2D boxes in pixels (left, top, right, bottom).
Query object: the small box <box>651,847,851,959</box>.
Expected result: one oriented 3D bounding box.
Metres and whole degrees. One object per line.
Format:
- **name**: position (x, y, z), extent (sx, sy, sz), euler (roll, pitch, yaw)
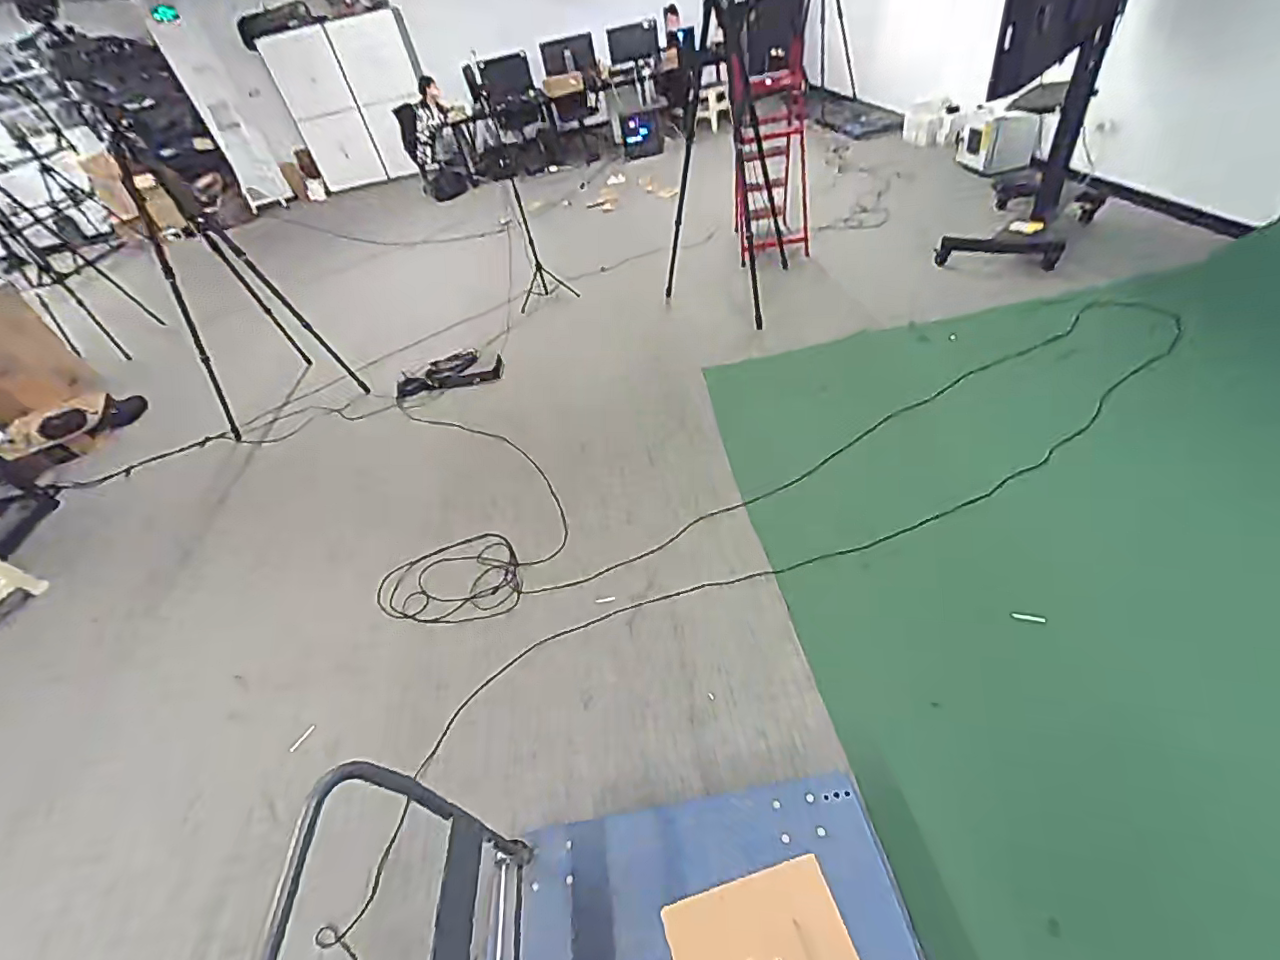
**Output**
- **small box**: position (0.124, 0.519, 0.558), extent (0.179, 0.176, 0.168), euler (-16, 42, -4)
